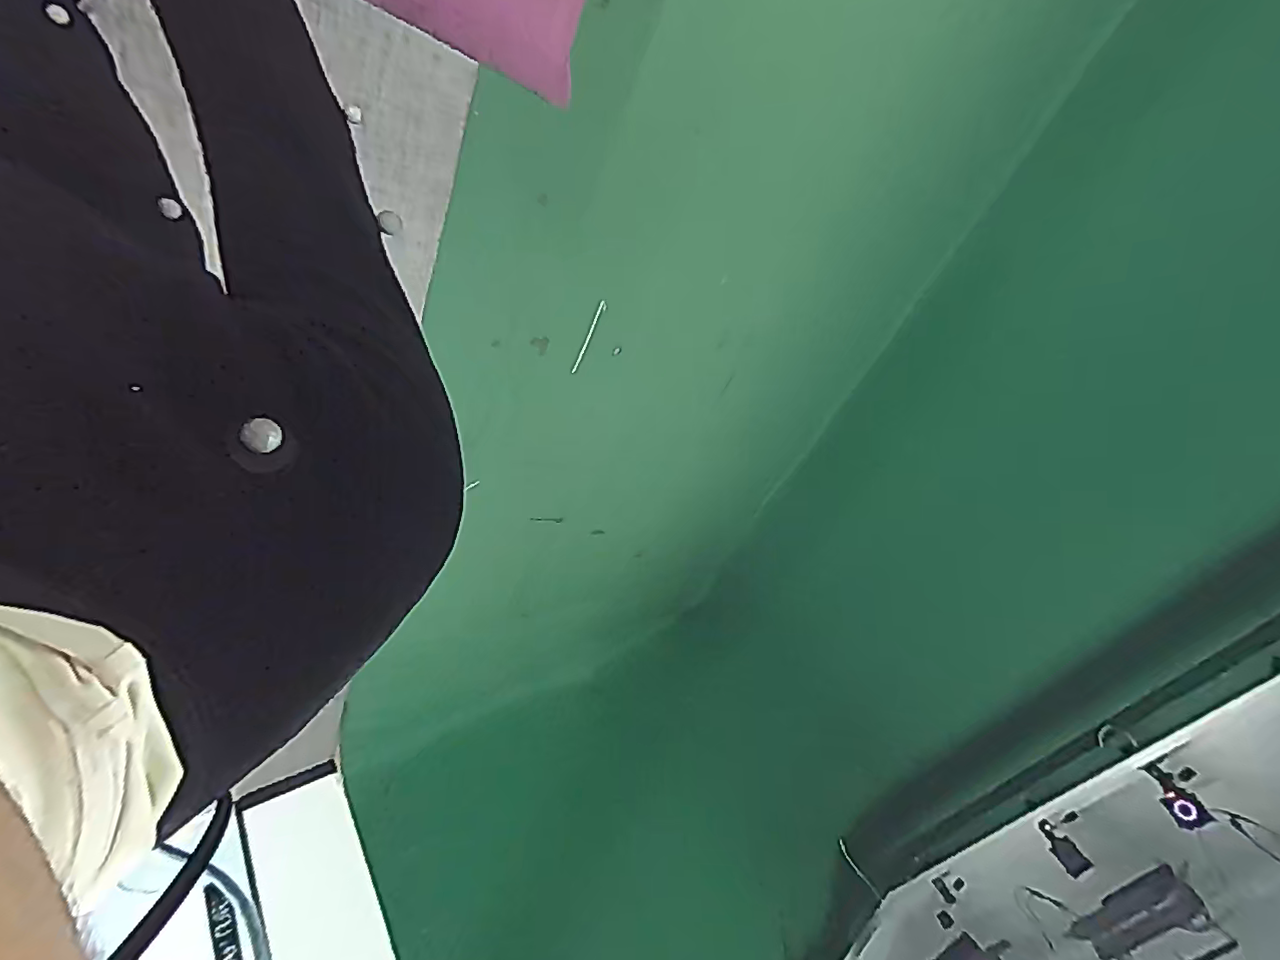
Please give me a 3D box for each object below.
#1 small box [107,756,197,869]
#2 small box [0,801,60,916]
[{"bbox_3d":[-1.301,0.878,1.442,0.168,0.176,0.179,-6,135,-45],"label":"small box"},{"bbox_3d":[-1.487,0.894,1.258,0.179,0.176,0.168,-3,132,-45],"label":"small box"}]
